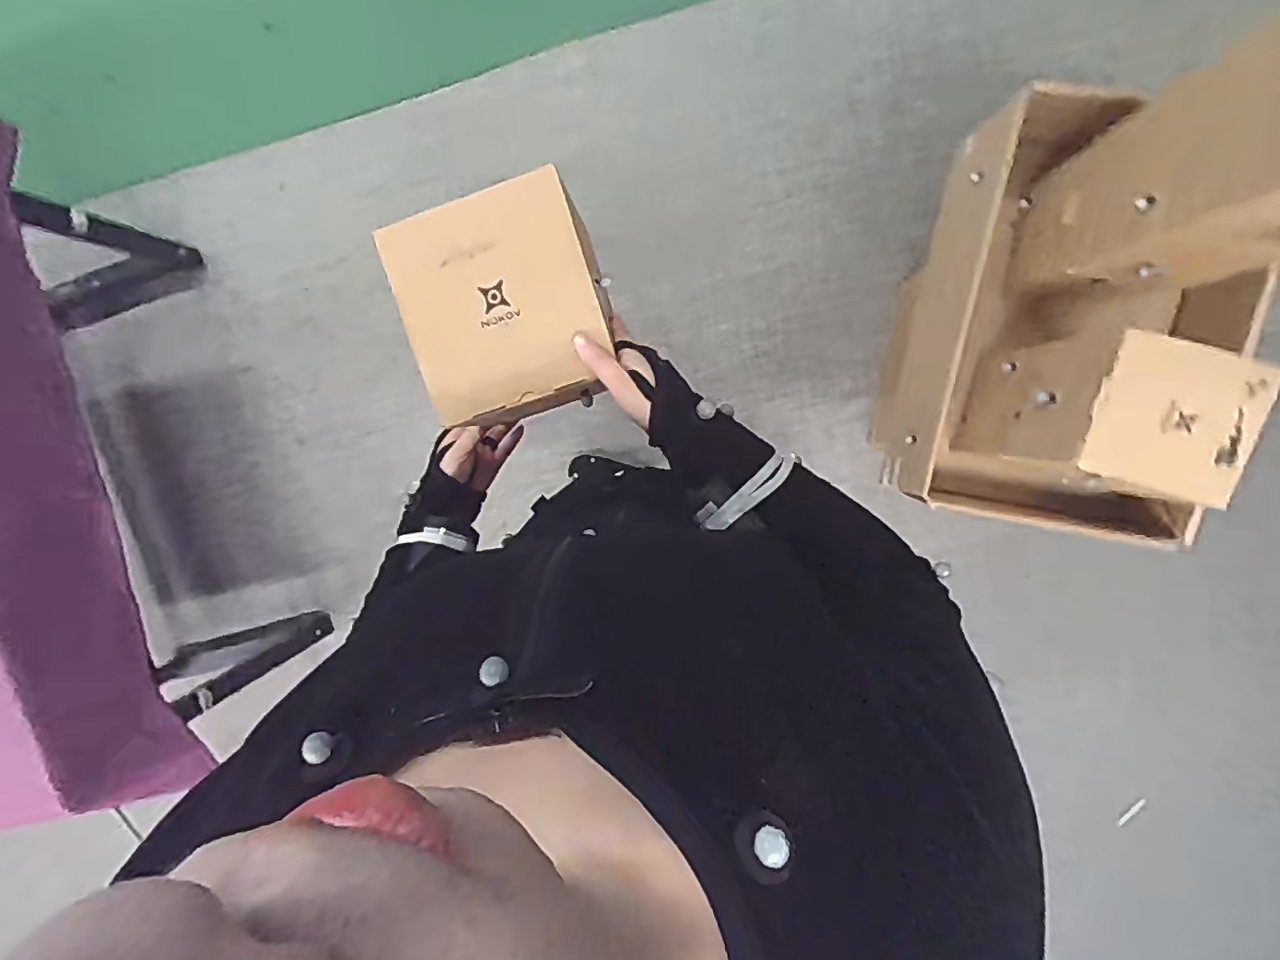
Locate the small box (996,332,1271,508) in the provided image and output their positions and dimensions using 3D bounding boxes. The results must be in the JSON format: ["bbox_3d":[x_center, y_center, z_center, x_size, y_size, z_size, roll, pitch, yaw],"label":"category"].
[{"bbox_3d":[0.612,-0.077,0.702,0.179,0.176,0.168,18,99,3],"label":"small box"}]

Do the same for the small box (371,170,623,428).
[{"bbox_3d":[-0.120,-0.161,0.535,0.168,0.176,0.179,-17,96,5],"label":"small box"}]

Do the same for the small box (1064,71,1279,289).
[{"bbox_3d":[0.674,-0.351,0.665,0.168,0.176,0.179,10,99,4],"label":"small box"}]
